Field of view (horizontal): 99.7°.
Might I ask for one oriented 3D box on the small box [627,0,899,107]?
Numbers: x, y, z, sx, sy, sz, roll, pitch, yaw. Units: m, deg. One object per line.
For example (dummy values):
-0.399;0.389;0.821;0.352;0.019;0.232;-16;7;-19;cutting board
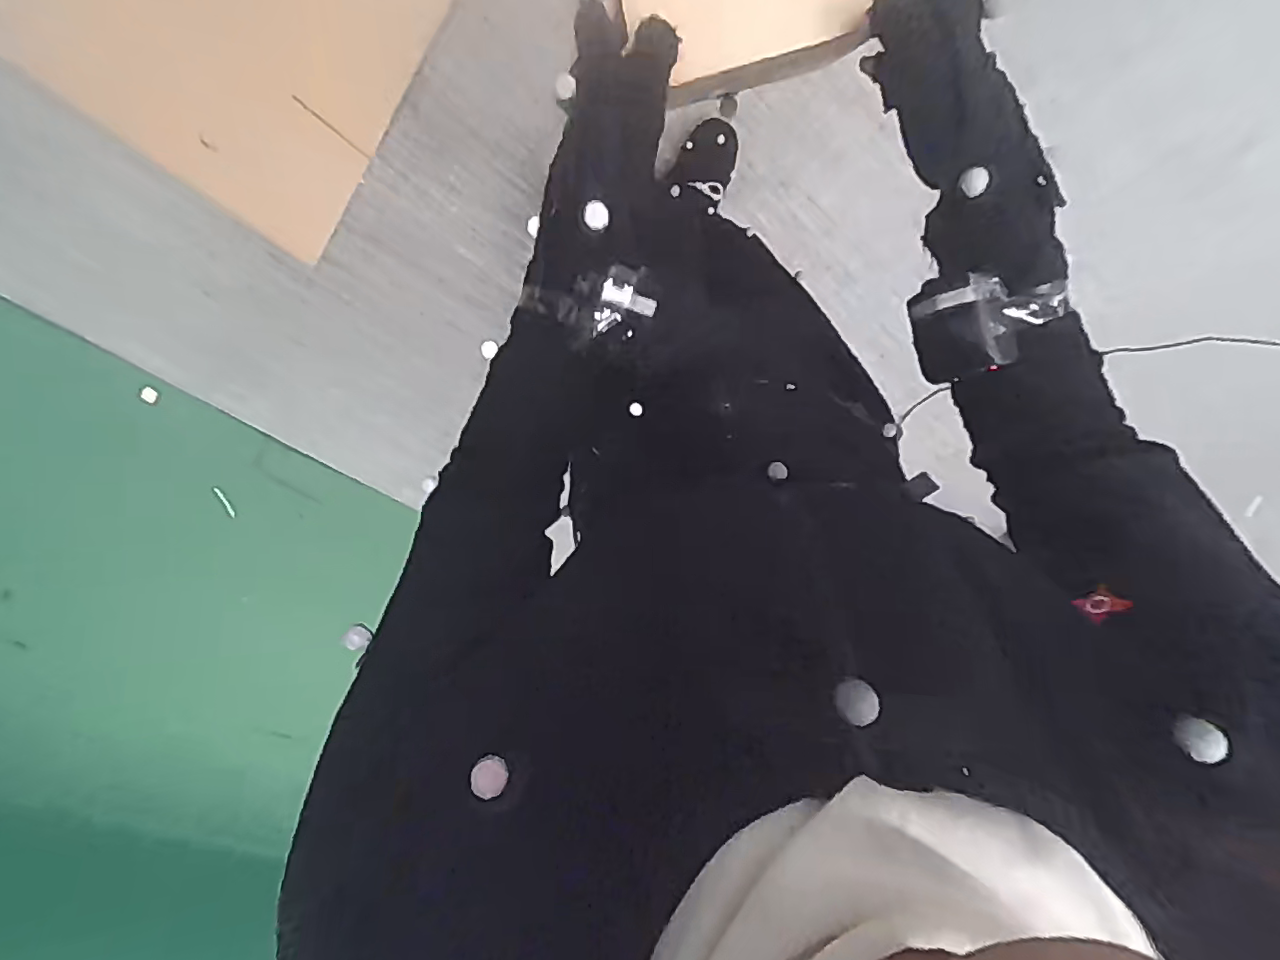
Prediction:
0.066;-0.391;0.377;0.168;0.176;0.179;-10;118;9;small box
